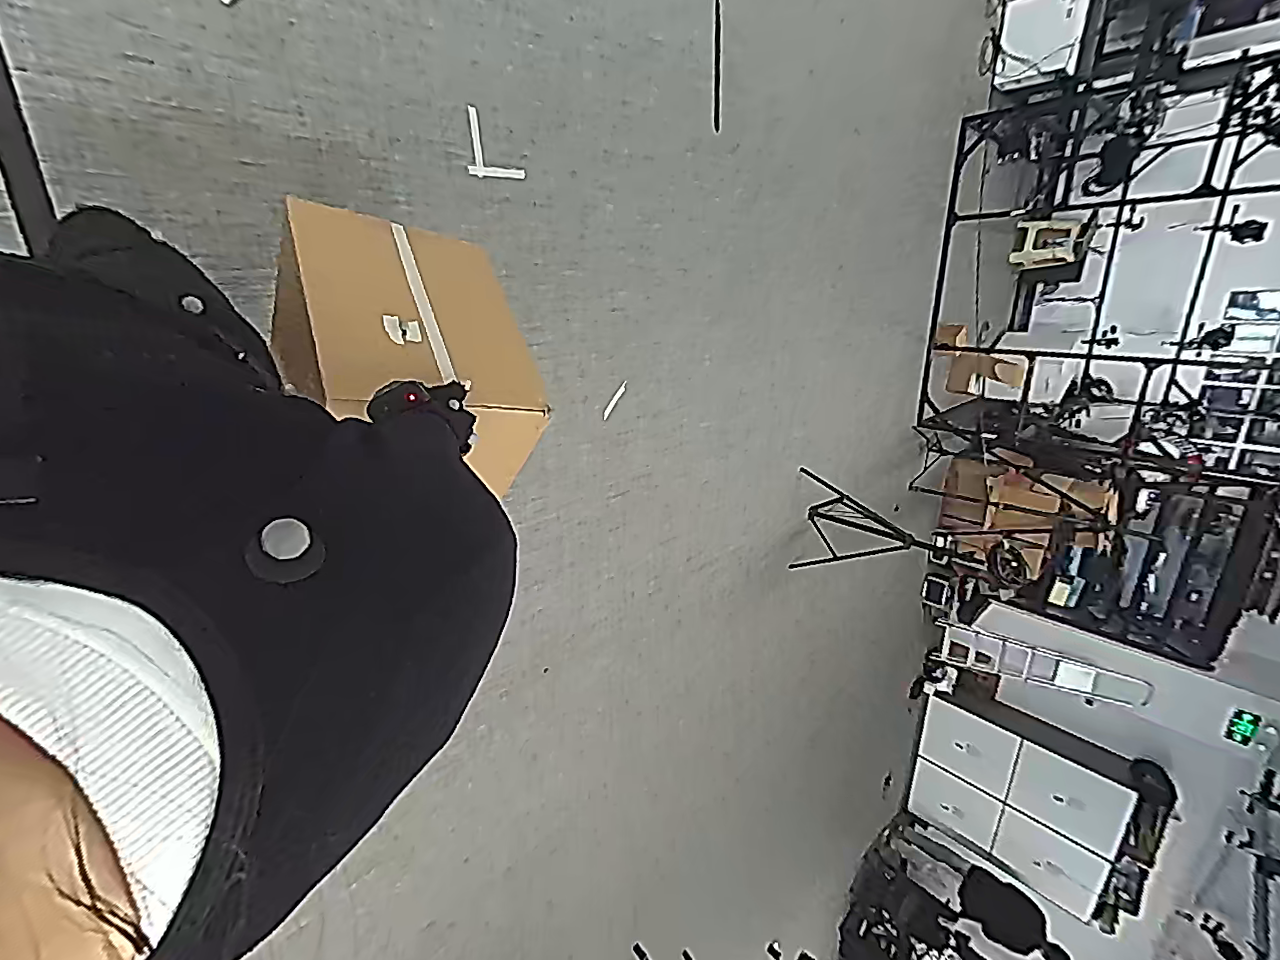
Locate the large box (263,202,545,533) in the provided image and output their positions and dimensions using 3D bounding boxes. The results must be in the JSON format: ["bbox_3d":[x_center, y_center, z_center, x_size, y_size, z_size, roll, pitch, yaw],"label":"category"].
[{"bbox_3d":[-0.415,-0.168,0.904,0.320,0.408,0.320,-3,148,-39],"label":"large box"}]
